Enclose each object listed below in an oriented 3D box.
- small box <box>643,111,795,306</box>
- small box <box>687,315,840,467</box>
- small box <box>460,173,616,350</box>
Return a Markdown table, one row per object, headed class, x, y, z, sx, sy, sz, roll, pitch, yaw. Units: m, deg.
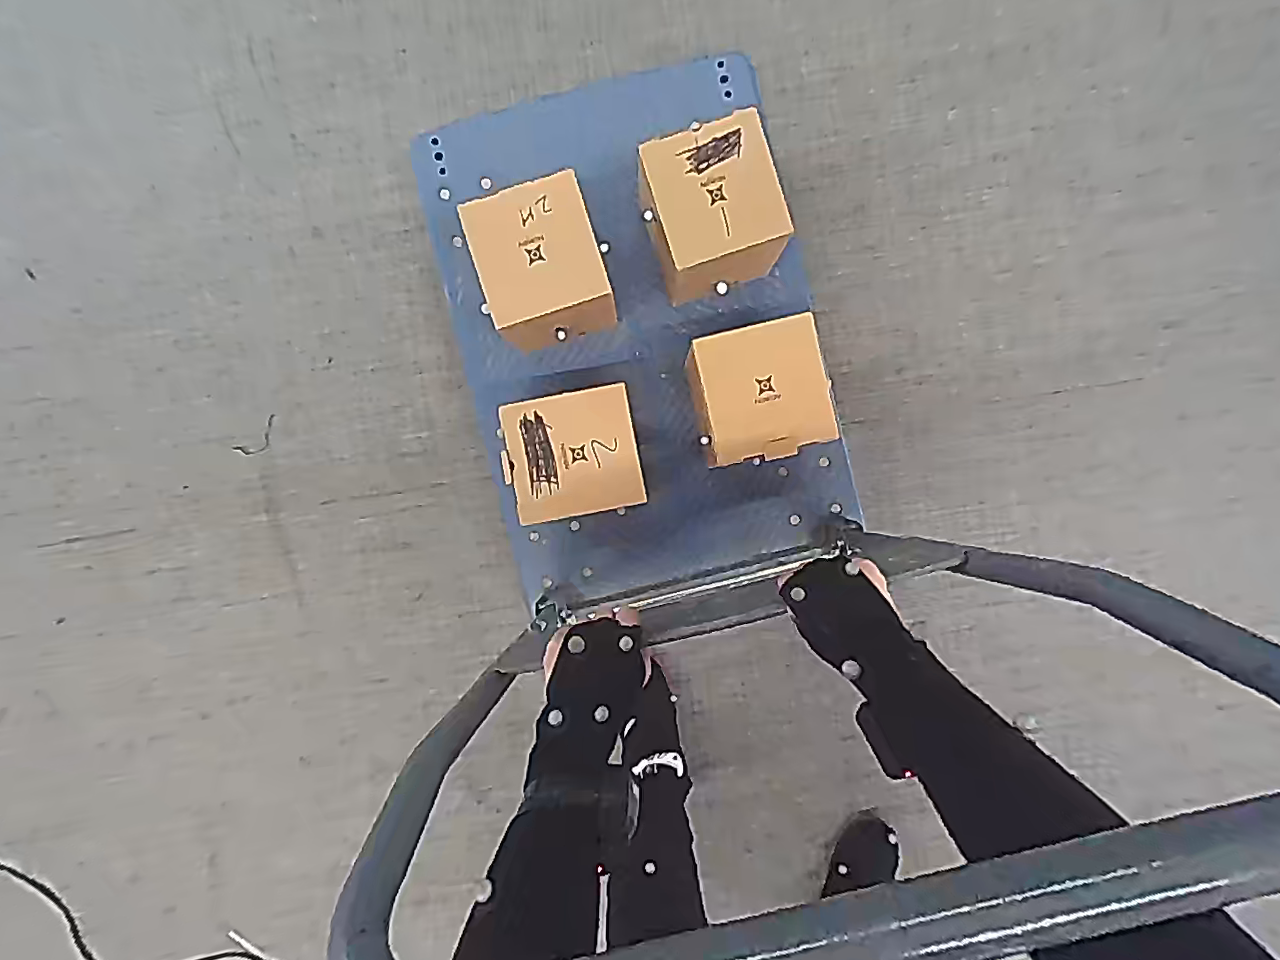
| class | x | y | z | sx | sy | sz | roll | pitch | yaw |
| --- | --- | --- | --- | --- | --- | --- | --- | --- | --- |
| small box | 0.104 | -0.382 | 0.792 | 0.168 | 0.176 | 0.179 | -17 | 92 | 2 |
| small box | 0.170 | -0.119 | 0.797 | 0.168 | 0.176 | 0.179 | -13 | 91 | 1 |
| small box | -0.137 | -0.304 | 0.797 | 0.168 | 0.176 | 0.179 | -17 | 91 | 0 |
